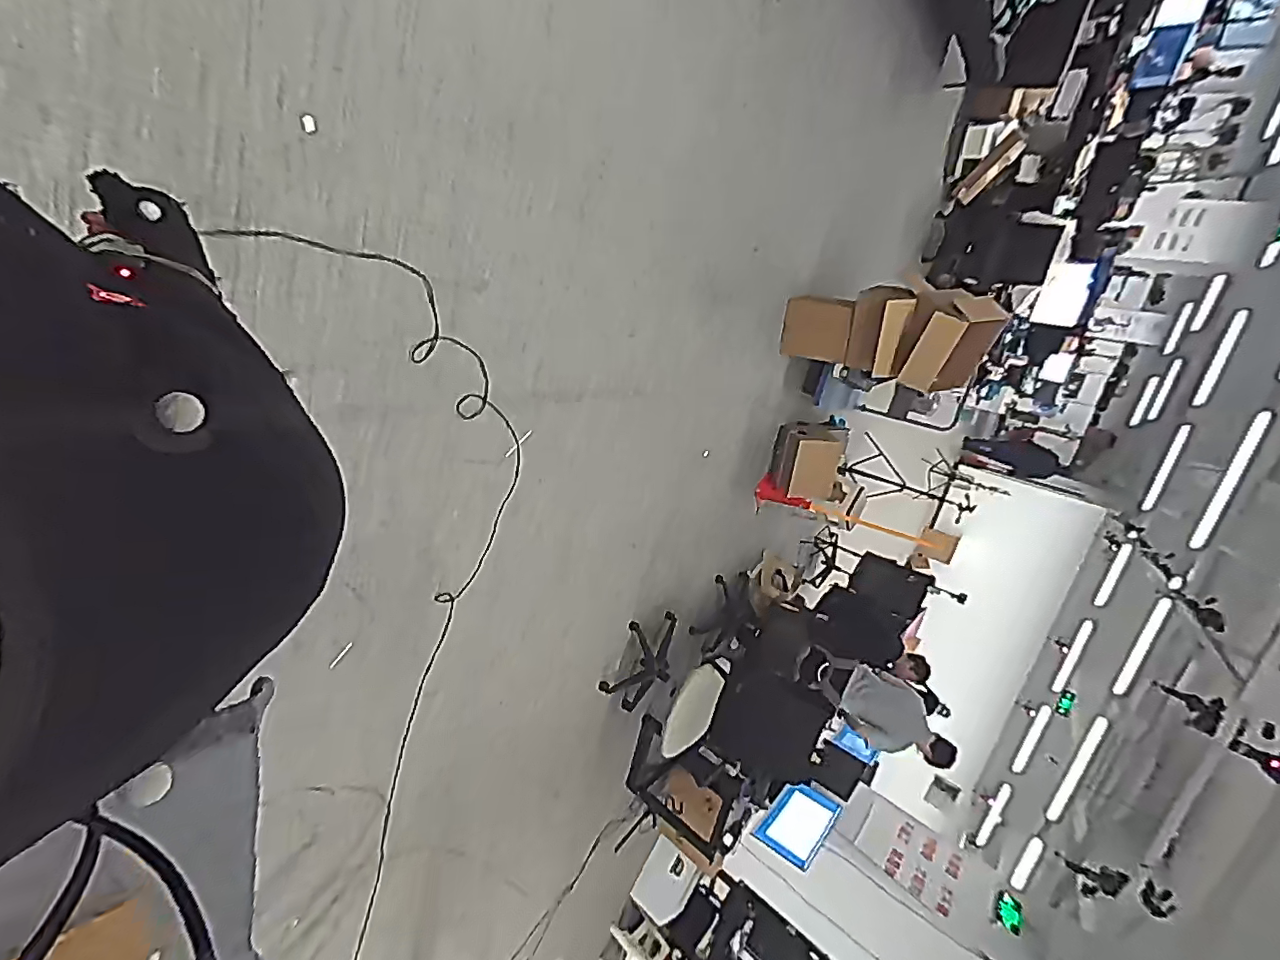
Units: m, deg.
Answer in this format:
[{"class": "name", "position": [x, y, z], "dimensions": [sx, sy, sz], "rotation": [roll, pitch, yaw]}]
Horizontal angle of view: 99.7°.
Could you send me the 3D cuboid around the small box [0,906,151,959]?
[{"class": "small box", "position": [-0.708, 0.677, 0.657], "dimensions": [0.168, 0.176, 0.179], "rotation": [-8, 116, -51]}]
